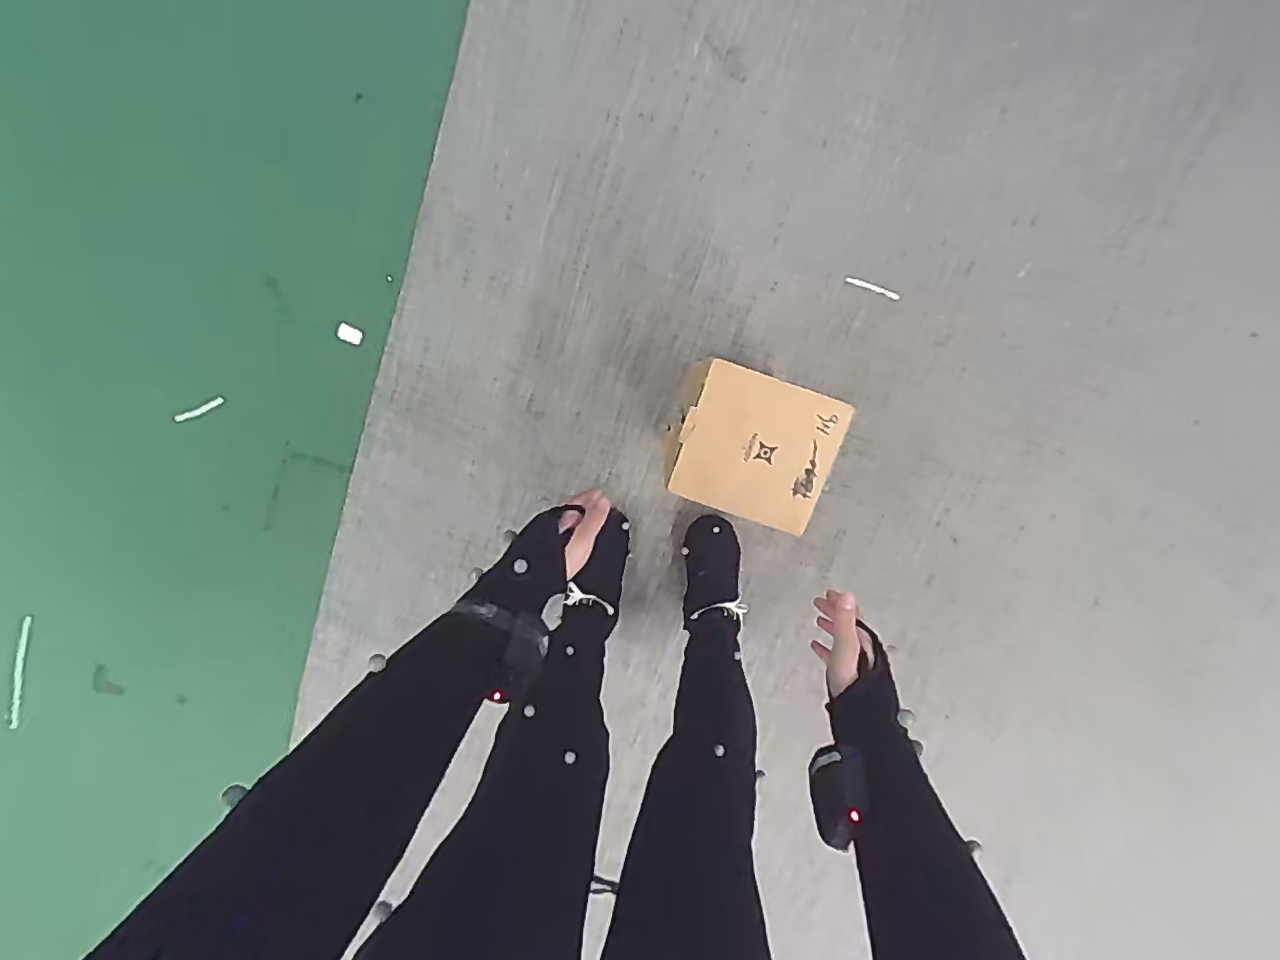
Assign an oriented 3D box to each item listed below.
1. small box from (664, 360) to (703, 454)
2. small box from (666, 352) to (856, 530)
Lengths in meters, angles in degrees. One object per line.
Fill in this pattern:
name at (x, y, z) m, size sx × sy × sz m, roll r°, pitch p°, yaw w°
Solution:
small box at (0.154, -0.116, 1.025) m, size 0.168 × 0.176 × 0.179 m, roll 20°, pitch 101°, yaw -2°
small box at (0.143, -0.056, 0.704) m, size 0.179 × 0.176 × 0.168 m, roll 19°, pitch 102°, yaw 0°
